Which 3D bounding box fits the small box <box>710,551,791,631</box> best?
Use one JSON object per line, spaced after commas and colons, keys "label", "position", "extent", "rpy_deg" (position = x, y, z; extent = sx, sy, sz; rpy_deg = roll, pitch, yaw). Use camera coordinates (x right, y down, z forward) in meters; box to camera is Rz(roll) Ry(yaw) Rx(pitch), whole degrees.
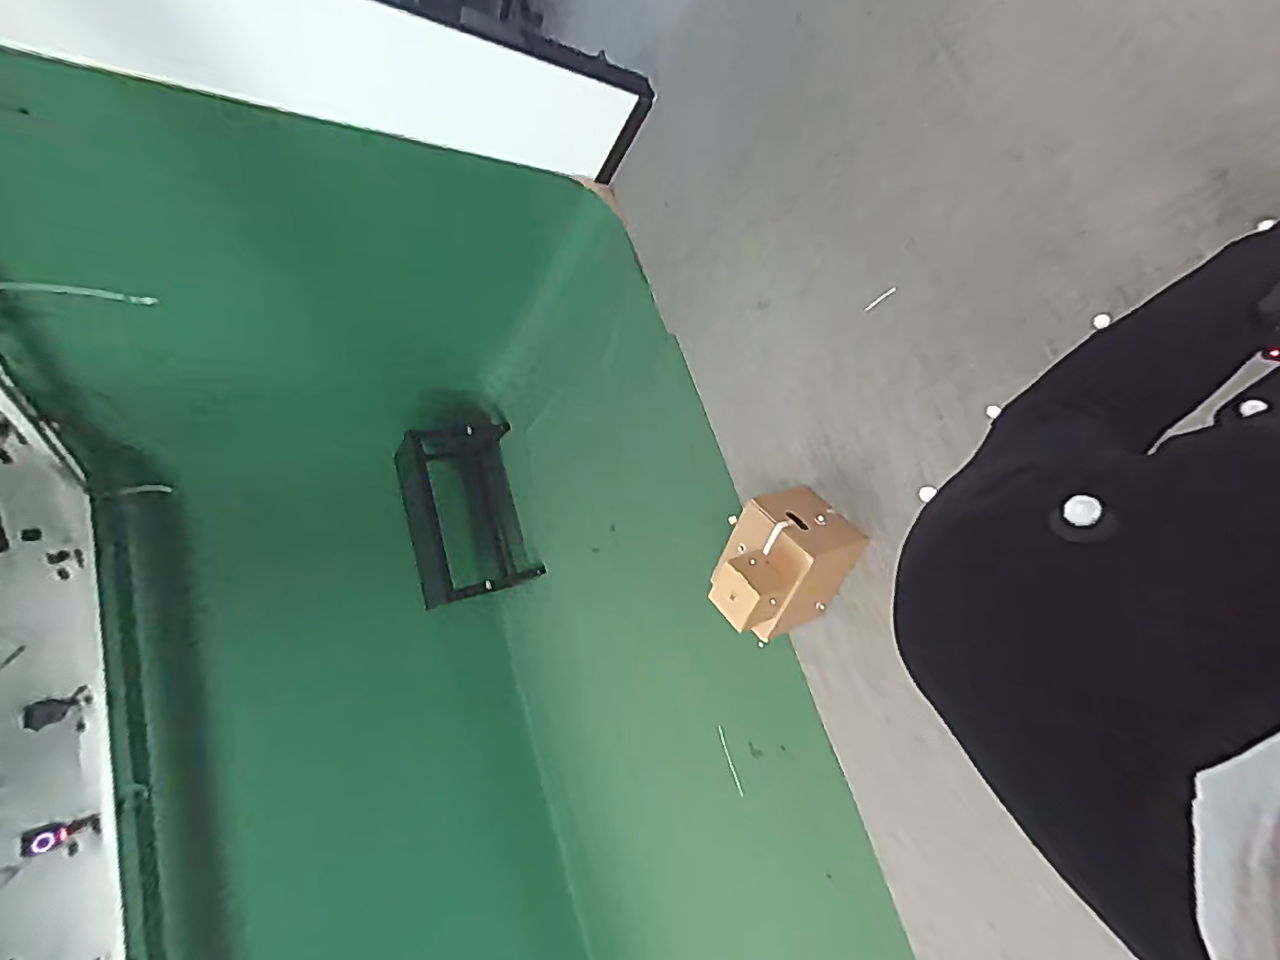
{"label": "small box", "position": [0.364, 0.355, 1.761], "extent": [0.168, 0.176, 0.179], "rpy_deg": [47, 133, 37]}
